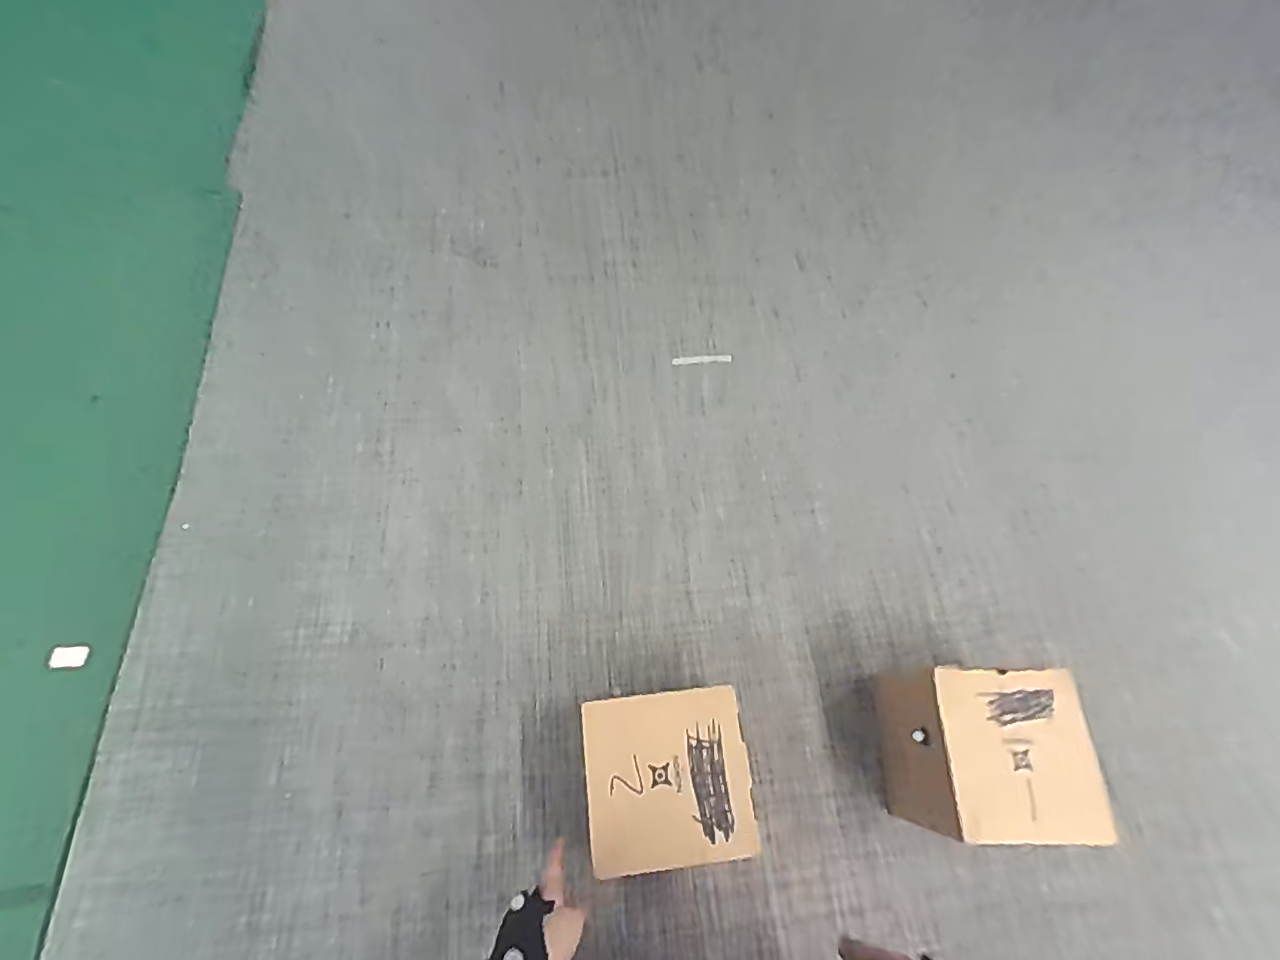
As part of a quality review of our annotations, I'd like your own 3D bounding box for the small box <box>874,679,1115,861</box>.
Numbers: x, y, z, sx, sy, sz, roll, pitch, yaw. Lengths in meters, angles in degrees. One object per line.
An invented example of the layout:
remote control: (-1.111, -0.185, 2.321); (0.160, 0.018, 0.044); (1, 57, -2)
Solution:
small box: (0.410, 0.345, 0.665); (0.168, 0.176, 0.179); (2, 67, -2)
